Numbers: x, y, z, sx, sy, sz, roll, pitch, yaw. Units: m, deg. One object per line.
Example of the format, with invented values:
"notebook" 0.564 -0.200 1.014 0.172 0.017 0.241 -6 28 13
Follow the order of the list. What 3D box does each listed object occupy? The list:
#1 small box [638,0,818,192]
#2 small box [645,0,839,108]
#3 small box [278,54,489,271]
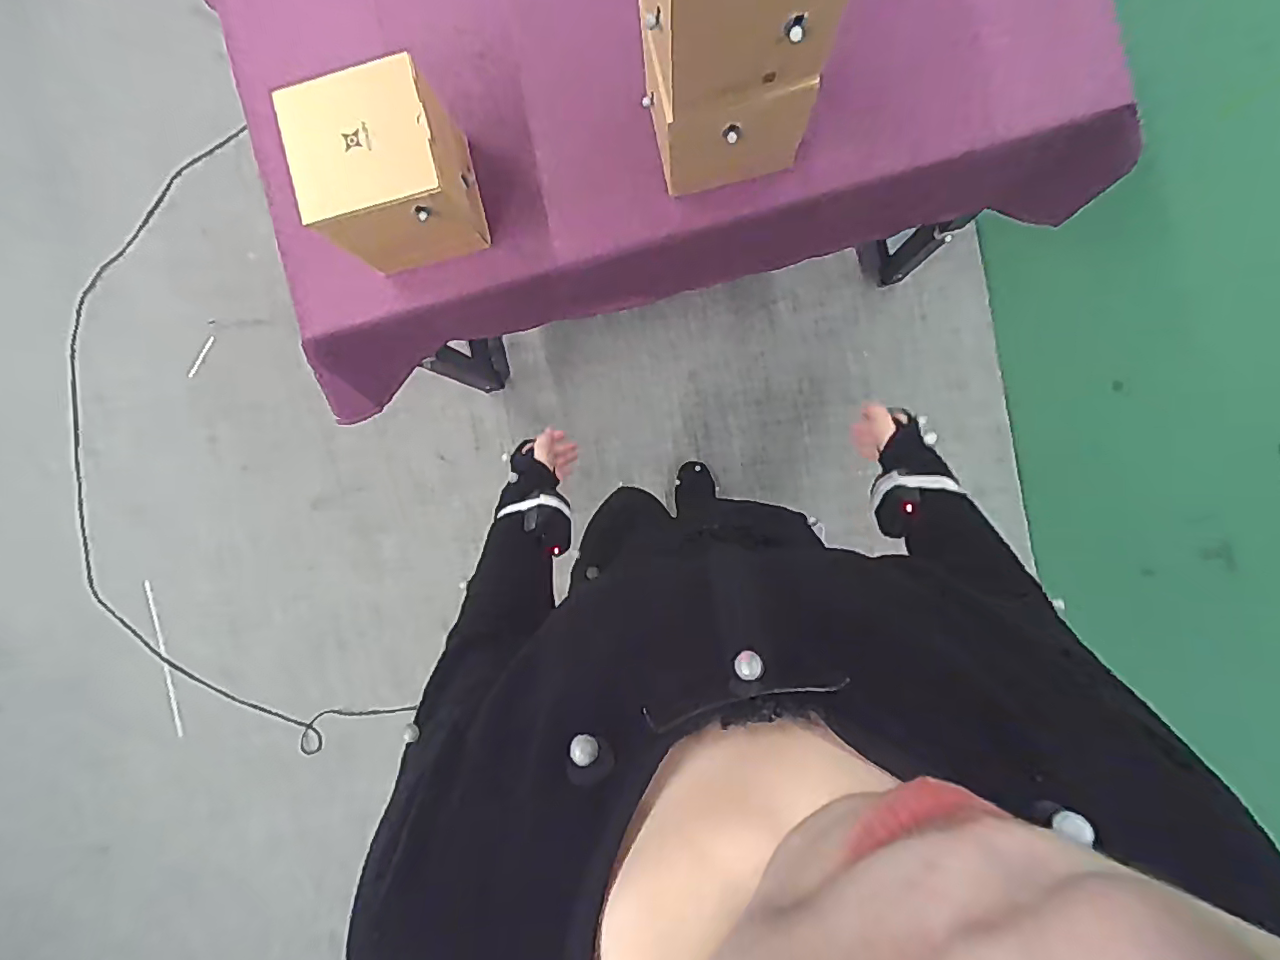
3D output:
"small box" 0.104 -0.496 0.680 0.179 0.176 0.168 -12 91 4
"small box" 0.091 -0.499 0.518 0.168 0.176 0.179 -14 89 4
"small box" -0.325 -0.399 0.715 0.179 0.176 0.168 -14 90 3
